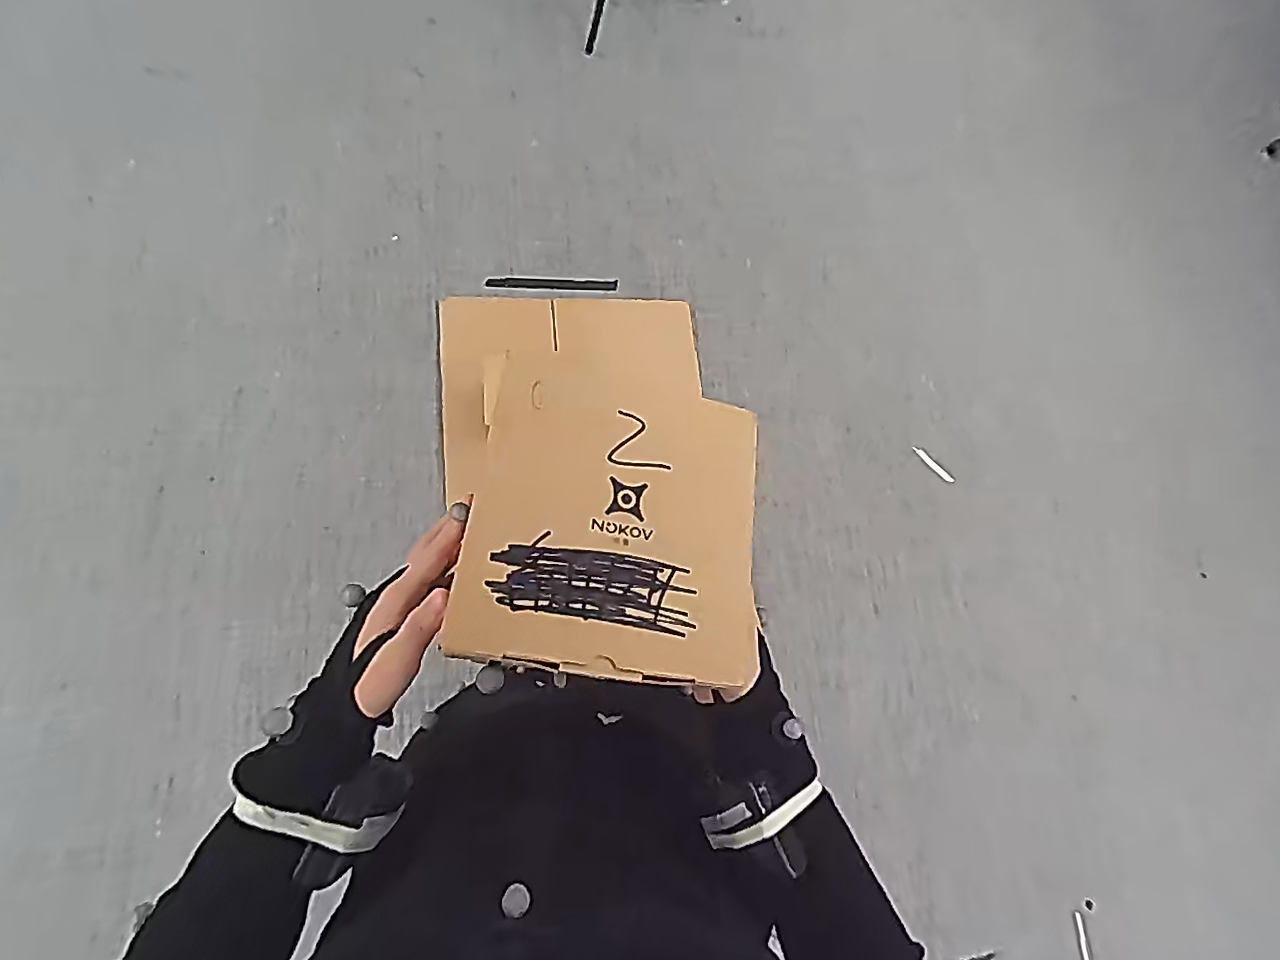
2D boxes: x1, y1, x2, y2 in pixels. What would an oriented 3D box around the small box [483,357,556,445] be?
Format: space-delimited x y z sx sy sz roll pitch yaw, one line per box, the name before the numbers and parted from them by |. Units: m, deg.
small box | -0.298 -0.188 1.333 0.168 0.176 0.179 -2 78 -14
